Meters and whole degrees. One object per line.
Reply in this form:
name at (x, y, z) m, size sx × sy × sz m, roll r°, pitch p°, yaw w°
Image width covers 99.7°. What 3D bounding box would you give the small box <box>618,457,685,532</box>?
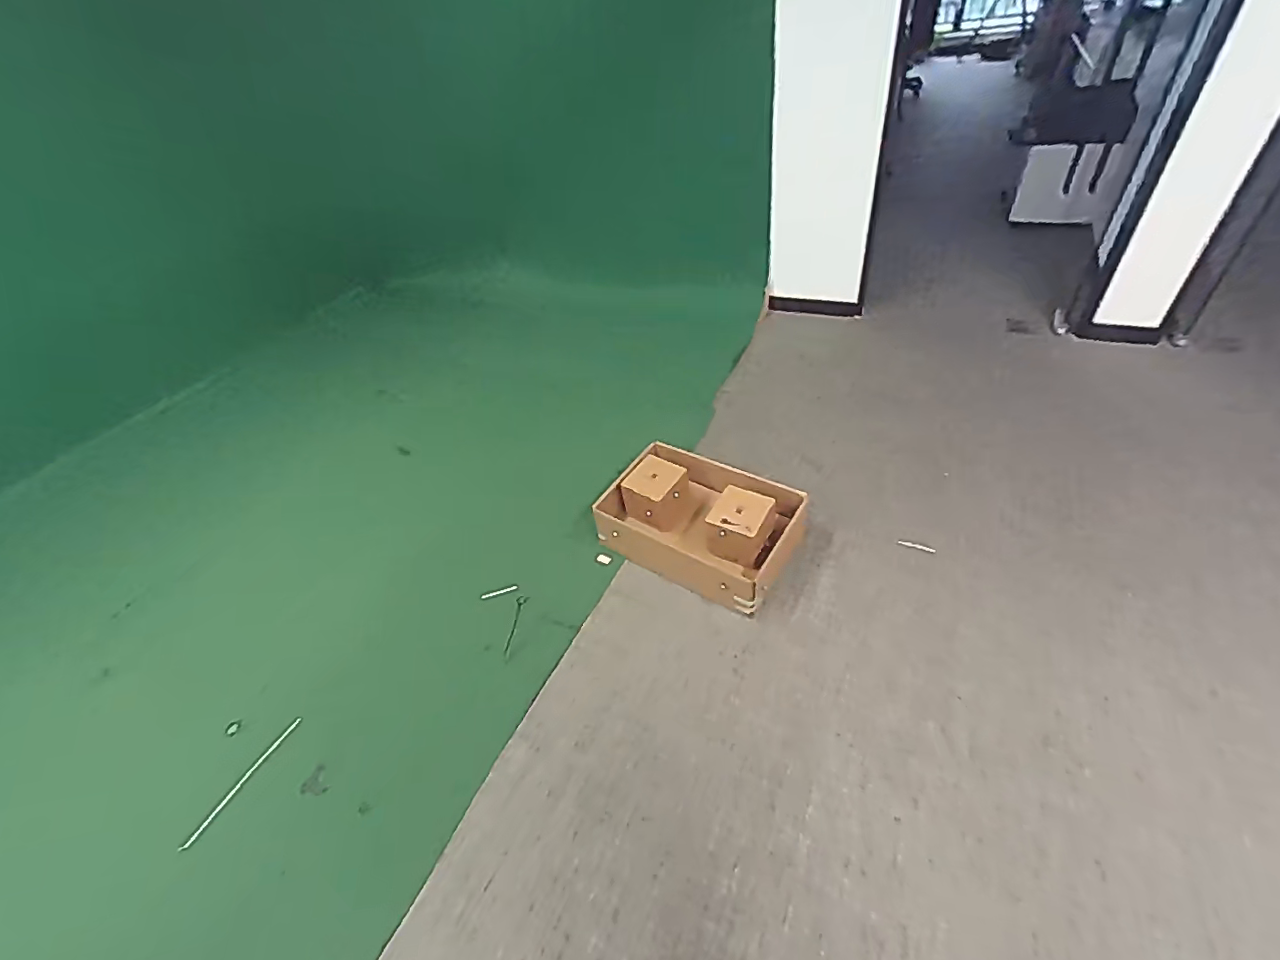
small box at (0.049, 0.054, 1.911) m, size 0.168 × 0.176 × 0.179 m, roll 24°, pitch 54°, yaw 29°
